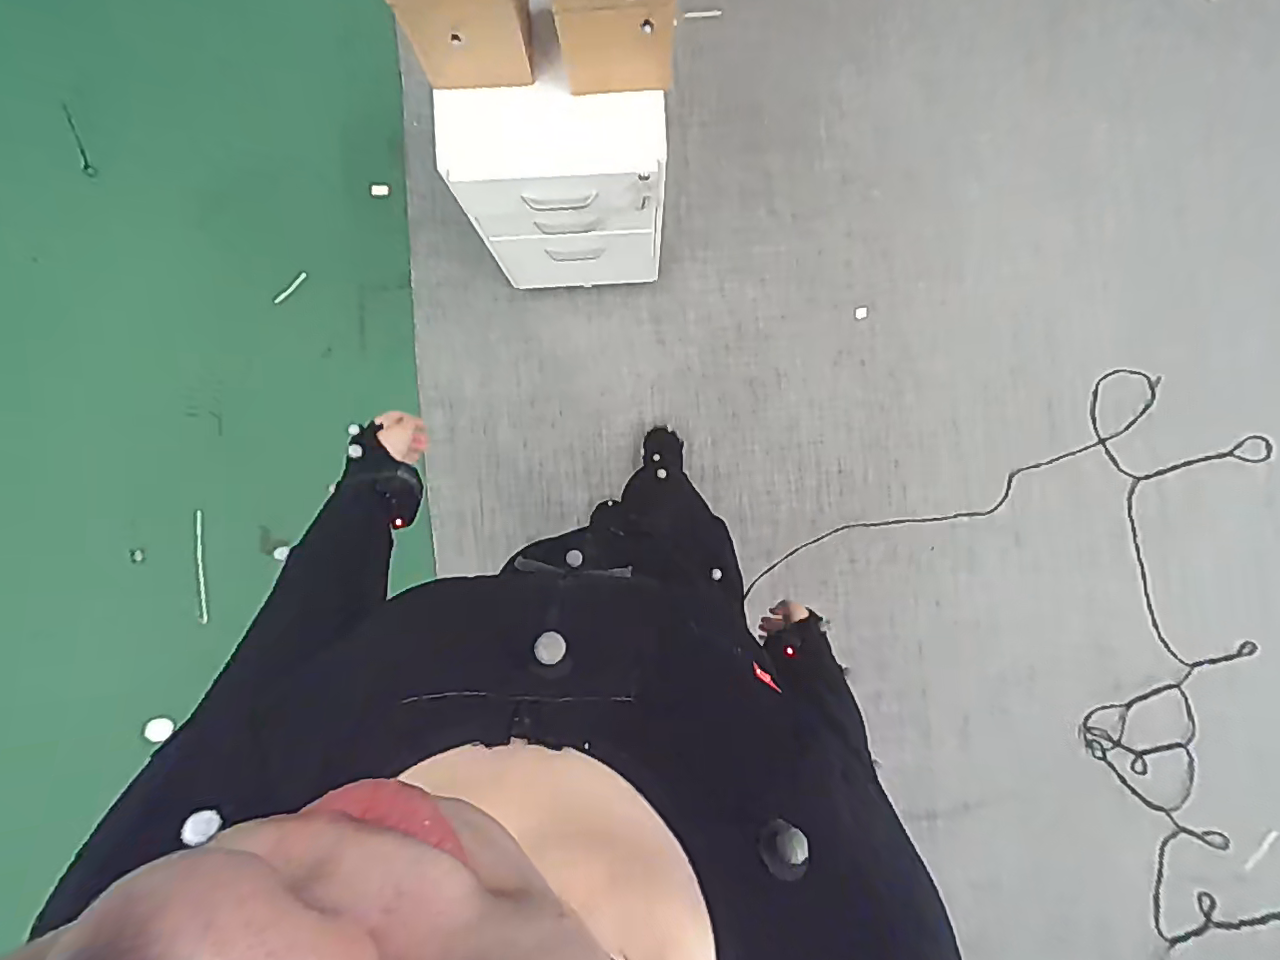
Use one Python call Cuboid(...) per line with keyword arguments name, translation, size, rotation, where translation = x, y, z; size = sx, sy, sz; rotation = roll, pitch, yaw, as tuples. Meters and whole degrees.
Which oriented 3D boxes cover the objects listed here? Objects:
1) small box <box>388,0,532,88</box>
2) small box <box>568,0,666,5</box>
Cuboid(name="small box", translation=(-0.274, -0.750, 0.843), size=(0.179, 0.176, 0.168), rotation=(-3, 90, -2))
Cuboid(name="small box", translation=(-0.040, -0.746, 0.678), size=(0.168, 0.176, 0.179), rotation=(-2, 89, -1))
